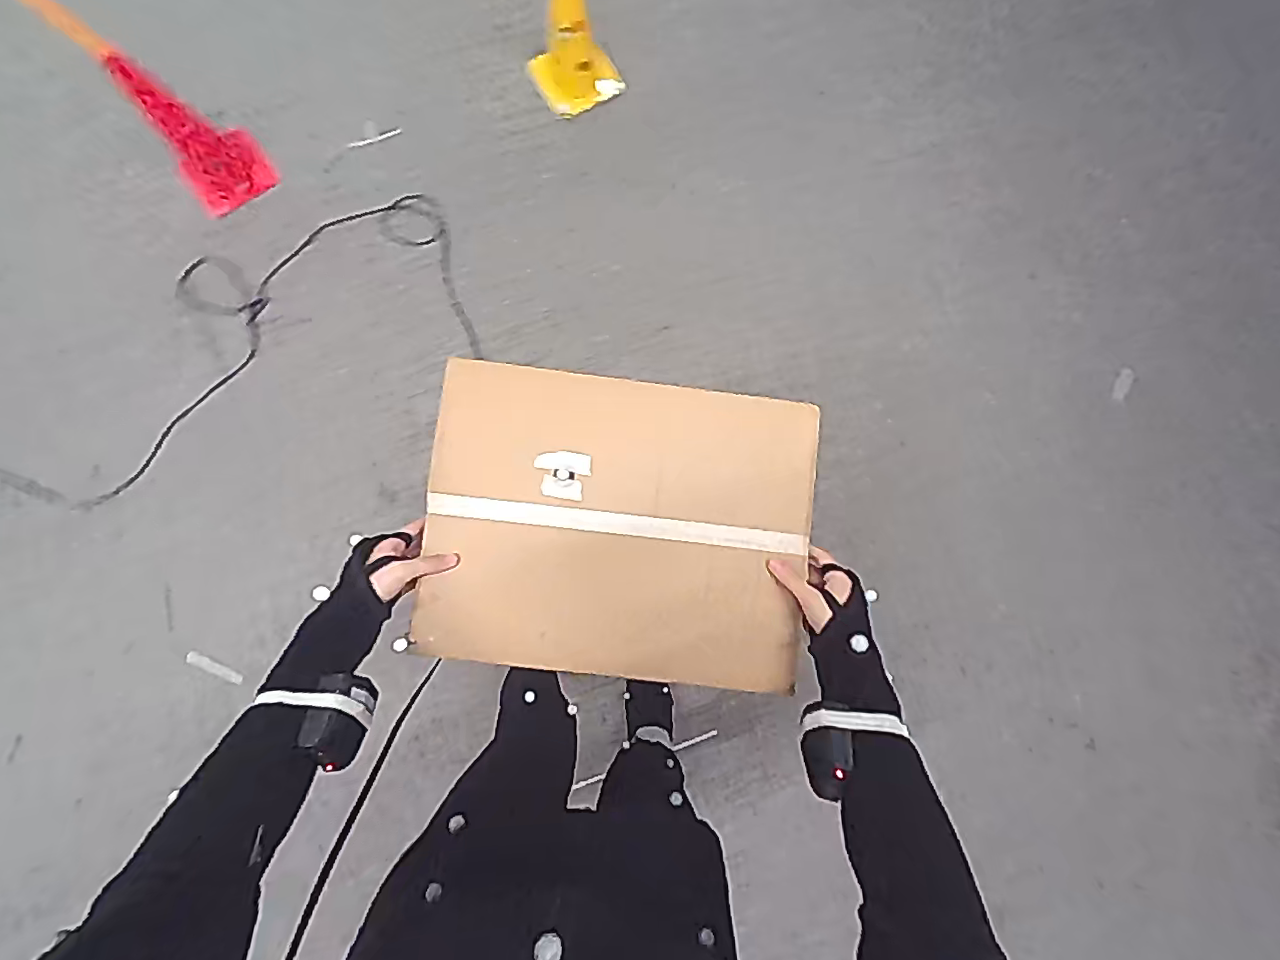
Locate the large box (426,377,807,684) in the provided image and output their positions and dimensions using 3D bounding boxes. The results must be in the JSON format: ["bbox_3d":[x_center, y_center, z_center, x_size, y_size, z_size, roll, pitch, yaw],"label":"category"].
[{"bbox_3d":[-0.023,0.063,0.741,0.408,0.320,0.320,6,85,-1],"label":"large box"}]
